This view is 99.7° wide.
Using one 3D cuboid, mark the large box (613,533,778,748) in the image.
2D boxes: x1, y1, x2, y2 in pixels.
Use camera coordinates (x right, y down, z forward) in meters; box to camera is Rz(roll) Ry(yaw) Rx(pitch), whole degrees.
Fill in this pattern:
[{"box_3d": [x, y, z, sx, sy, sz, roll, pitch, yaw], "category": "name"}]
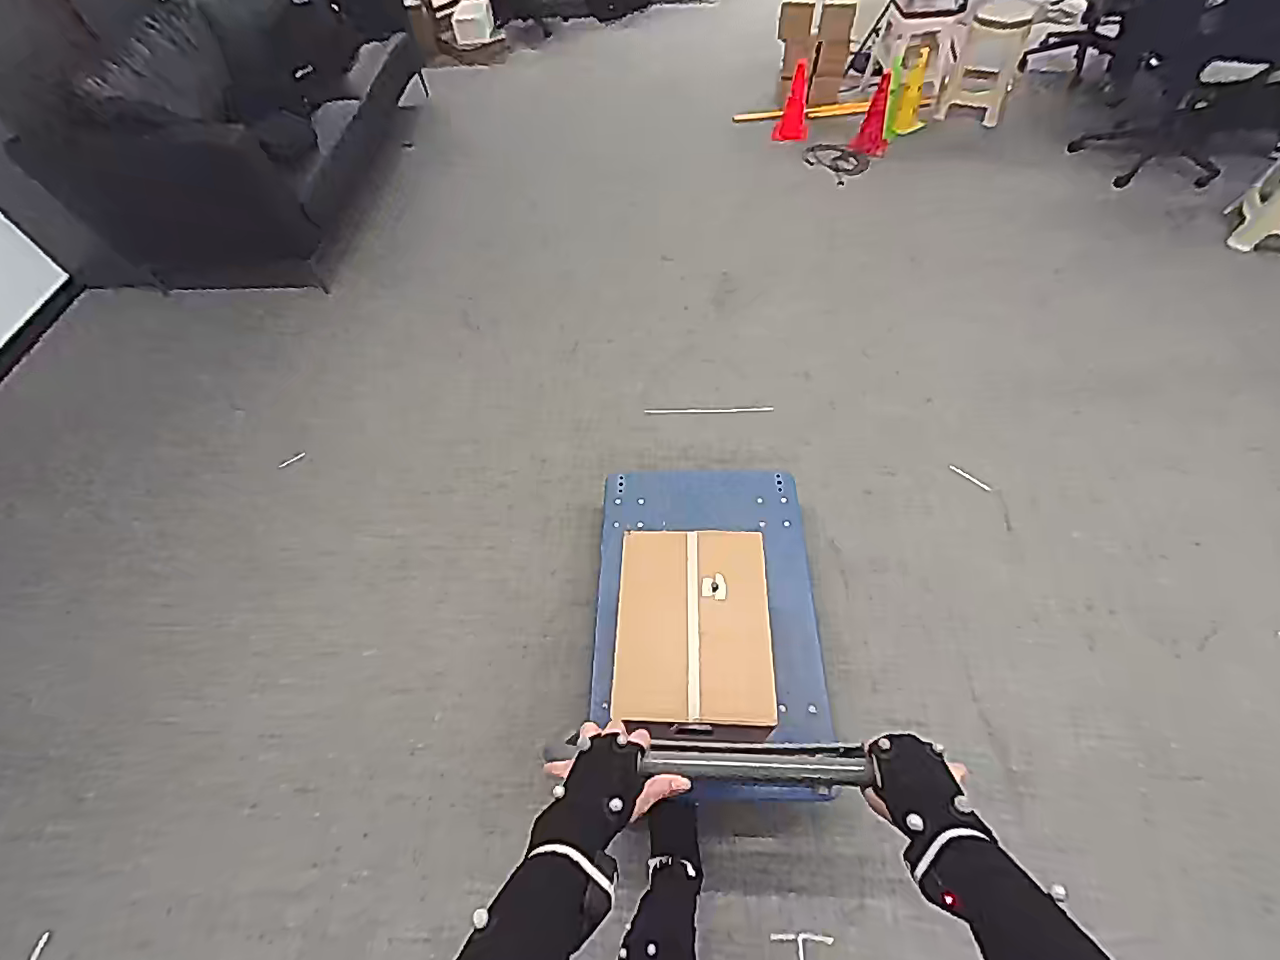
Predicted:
[{"box_3d": [0.118, 0.372, 1.239, 0.320, 0.320, 0.408, 0, 55, 4], "category": "large box"}]
